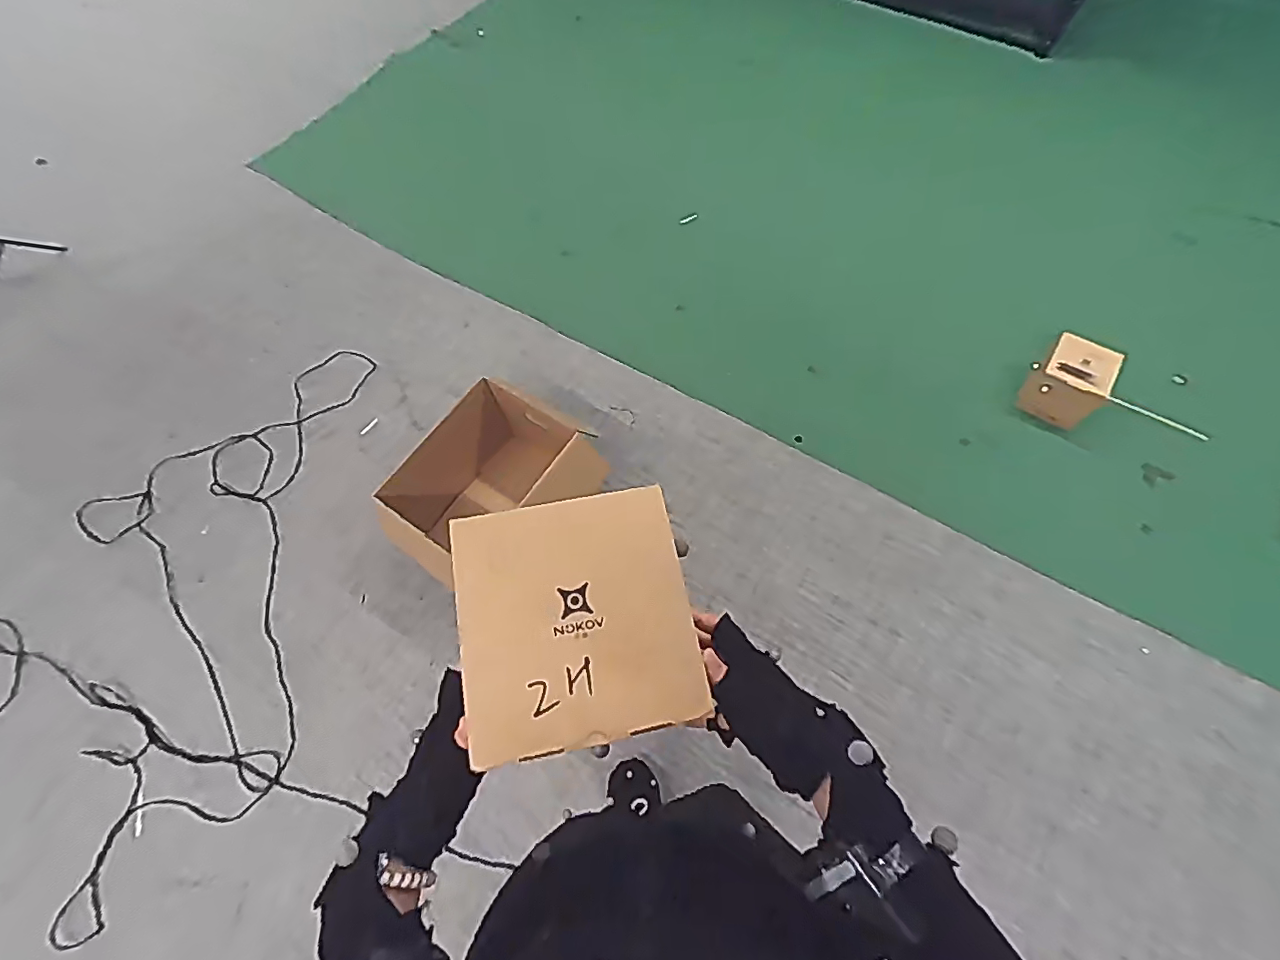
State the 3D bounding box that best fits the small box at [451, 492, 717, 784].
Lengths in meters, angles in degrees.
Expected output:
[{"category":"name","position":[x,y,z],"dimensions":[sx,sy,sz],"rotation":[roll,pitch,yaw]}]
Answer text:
[{"category":"small box","position":[-0.049,0.131,0.450],"dimensions":[0.168,0.176,0.179],"rotation":[-10,69,-7]}]
